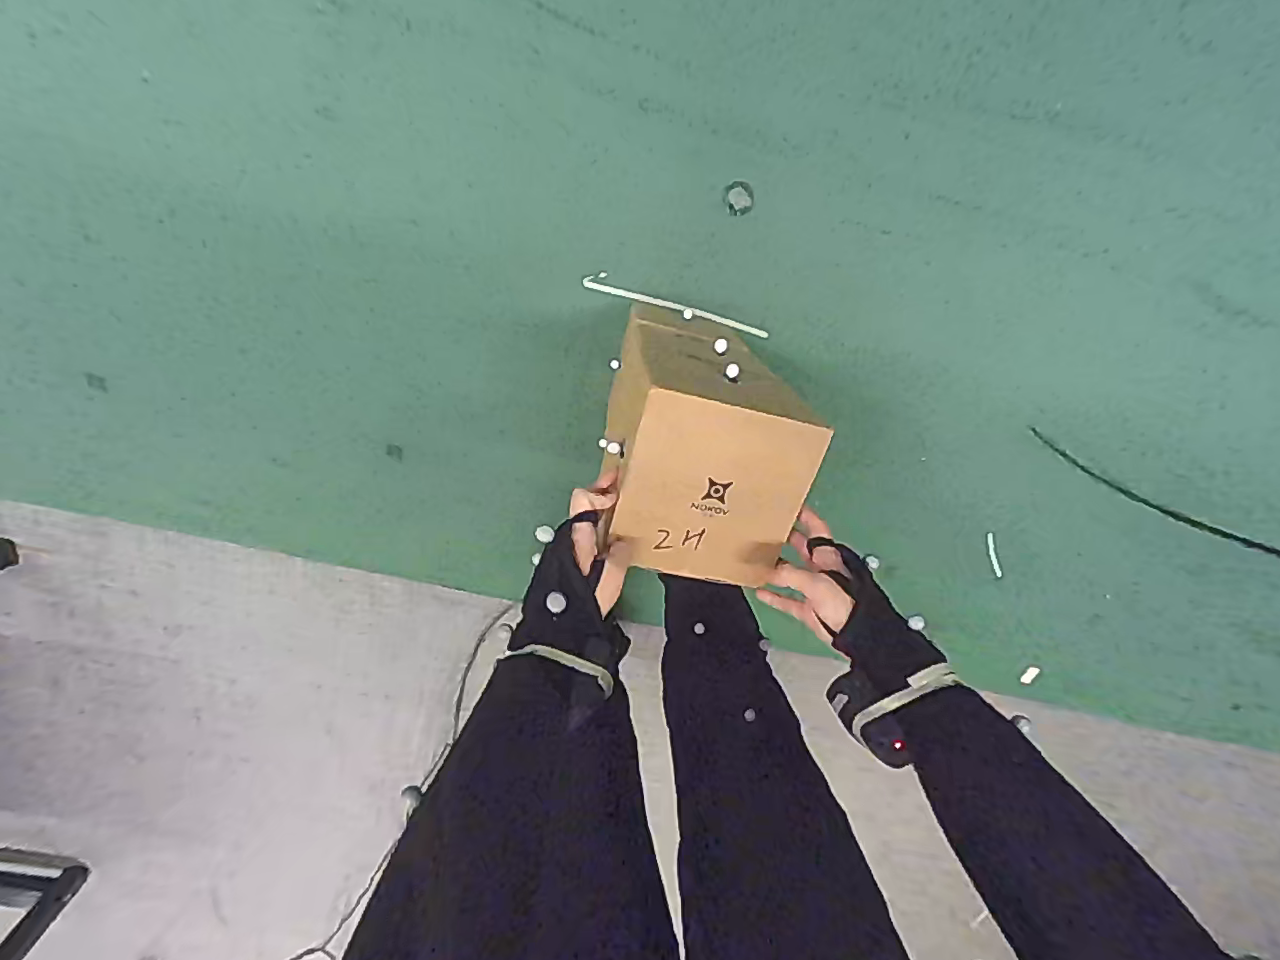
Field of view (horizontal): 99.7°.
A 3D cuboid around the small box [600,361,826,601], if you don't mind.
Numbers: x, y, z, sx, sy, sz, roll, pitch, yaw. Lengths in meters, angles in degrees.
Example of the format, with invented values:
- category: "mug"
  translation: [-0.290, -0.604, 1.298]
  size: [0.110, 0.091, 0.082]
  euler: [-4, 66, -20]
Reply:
- category: "small box"
  translation: [0.055, -0.008, 0.554]
  size: [0.168, 0.176, 0.179]
  euler: [12, 115, -10]

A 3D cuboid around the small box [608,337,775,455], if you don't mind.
- category: "small box"
  translation: [0.052, -0.076, 0.707]
  size: [0.168, 0.176, 0.179]
  euler: [11, 115, -8]
